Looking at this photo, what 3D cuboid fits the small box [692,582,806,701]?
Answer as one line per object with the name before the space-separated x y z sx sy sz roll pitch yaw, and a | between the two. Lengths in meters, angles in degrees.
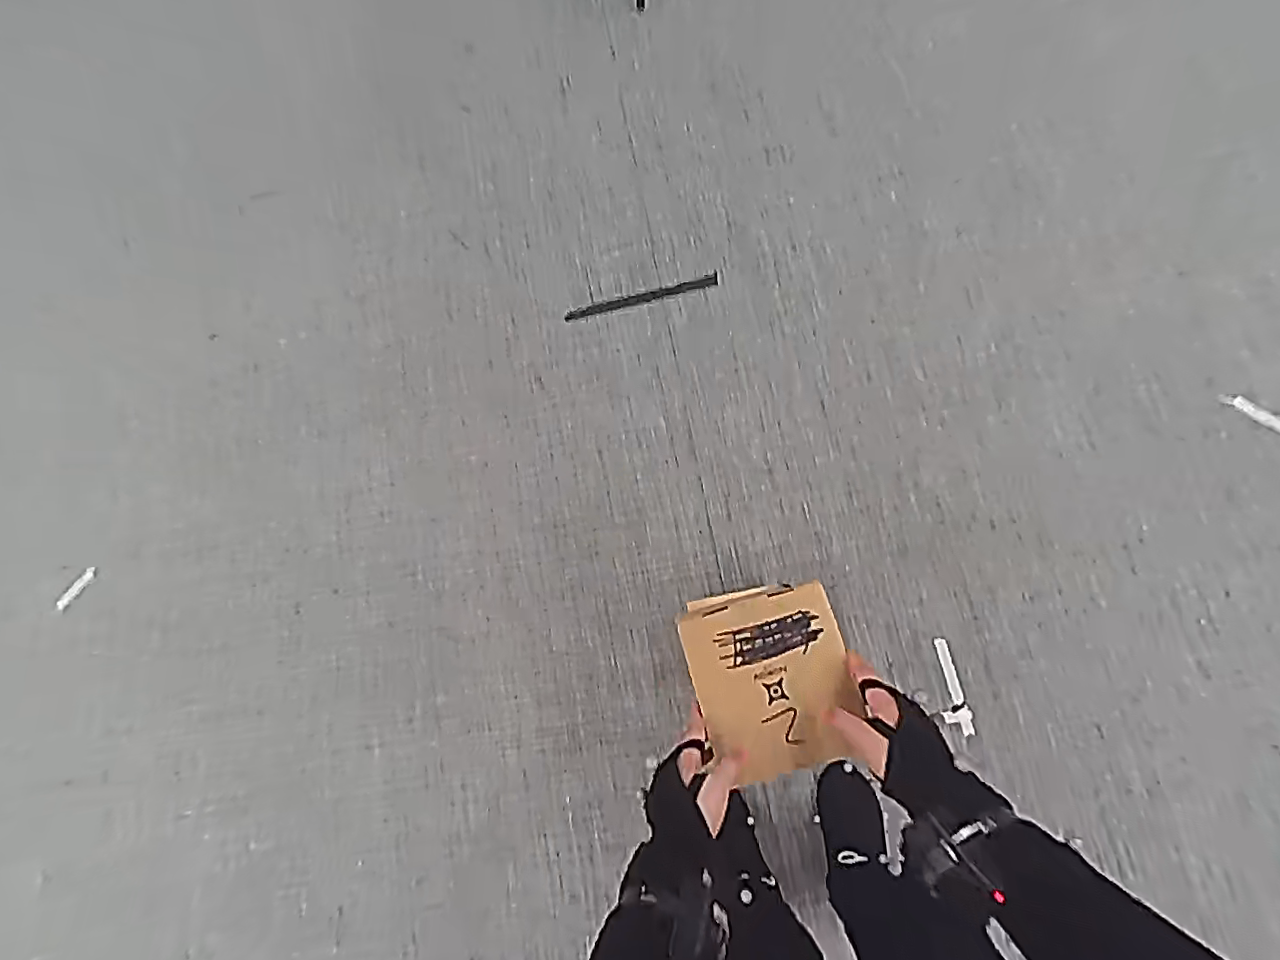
small box | 0.194 0.295 1.011 0.168 0.176 0.179 -13 78 5
